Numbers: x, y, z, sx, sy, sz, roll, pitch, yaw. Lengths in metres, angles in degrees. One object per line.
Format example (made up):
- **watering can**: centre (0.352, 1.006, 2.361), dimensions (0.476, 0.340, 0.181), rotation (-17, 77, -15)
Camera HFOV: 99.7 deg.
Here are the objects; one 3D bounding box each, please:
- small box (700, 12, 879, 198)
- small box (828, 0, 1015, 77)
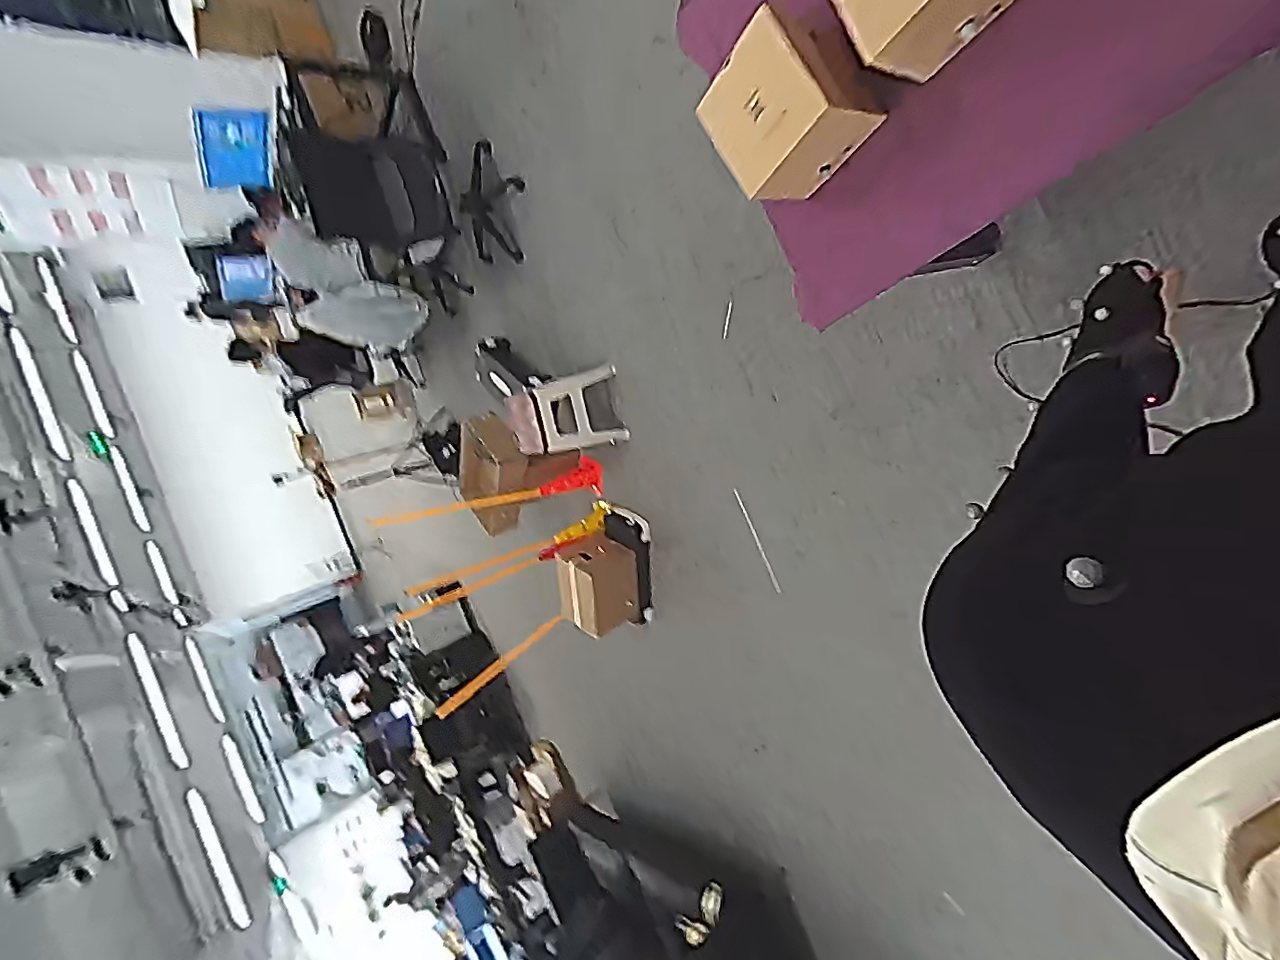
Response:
- **small box**: centre (0.234, -0.573, 0.853), dimensions (0.168, 0.176, 0.179), rotation (-36, 79, 54)
- **small box**: centre (0.348, -0.642, 0.667), dimensions (0.168, 0.176, 0.179), rotation (-28, 85, 55)
